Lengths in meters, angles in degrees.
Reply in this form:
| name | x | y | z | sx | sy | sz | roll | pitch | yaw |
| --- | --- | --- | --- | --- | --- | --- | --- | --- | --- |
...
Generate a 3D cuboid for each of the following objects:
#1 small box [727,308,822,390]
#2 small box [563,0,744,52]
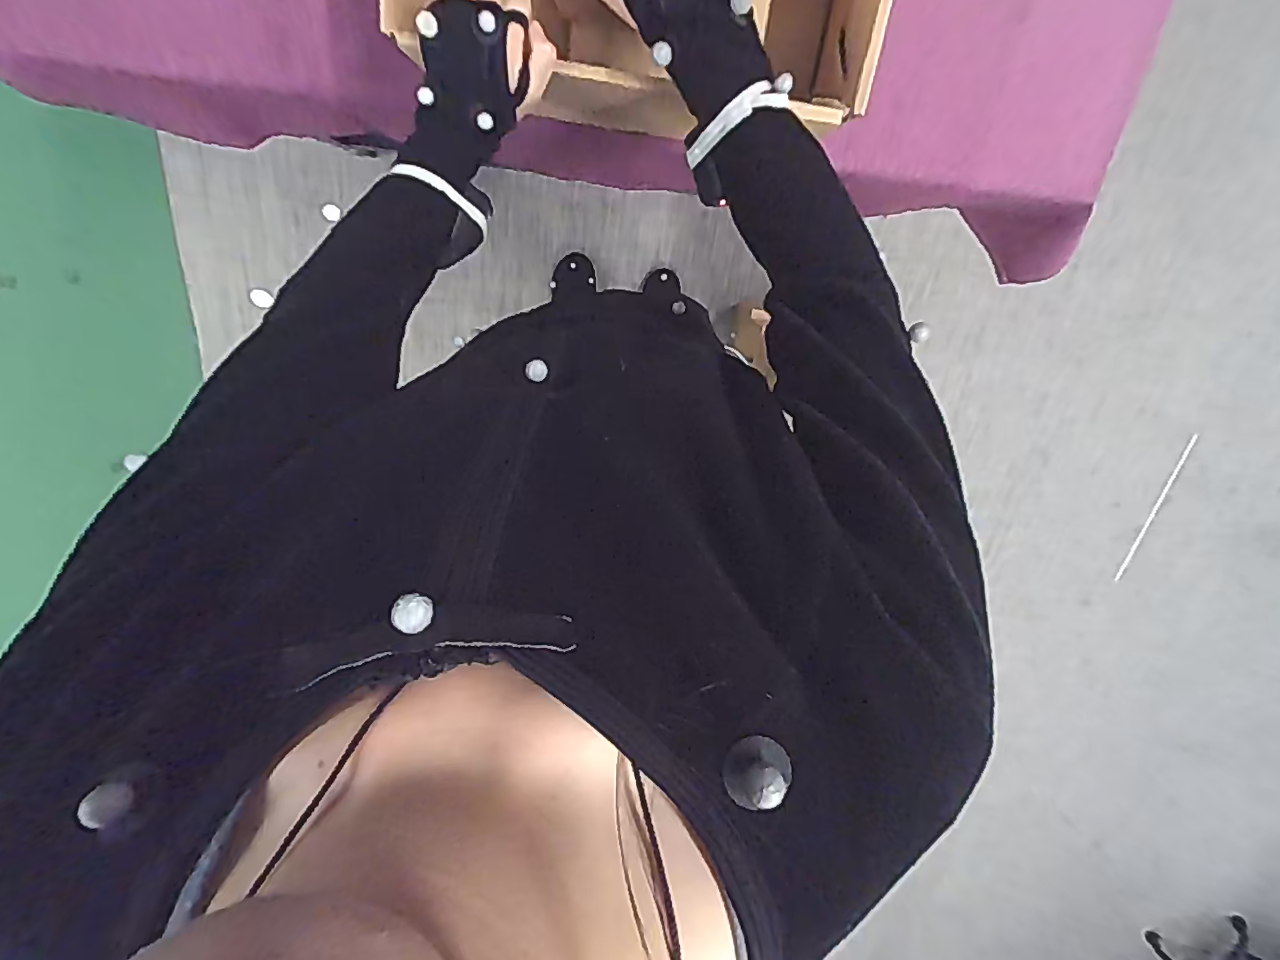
| name | x | y | z | sx | sy | sz | roll | pitch | yaw |
| --- | --- | --- | --- | --- | --- | --- | --- | --- | --- |
| small box | 0.327 | -0.333 | 1.351 | 0.179 | 0.176 | 0.168 | 5 | 112 | -3 |
| small box | 0.019 | -0.487 | 0.439 | 0.168 | 0.176 | 0.179 | 7 | 111 | -3 |
